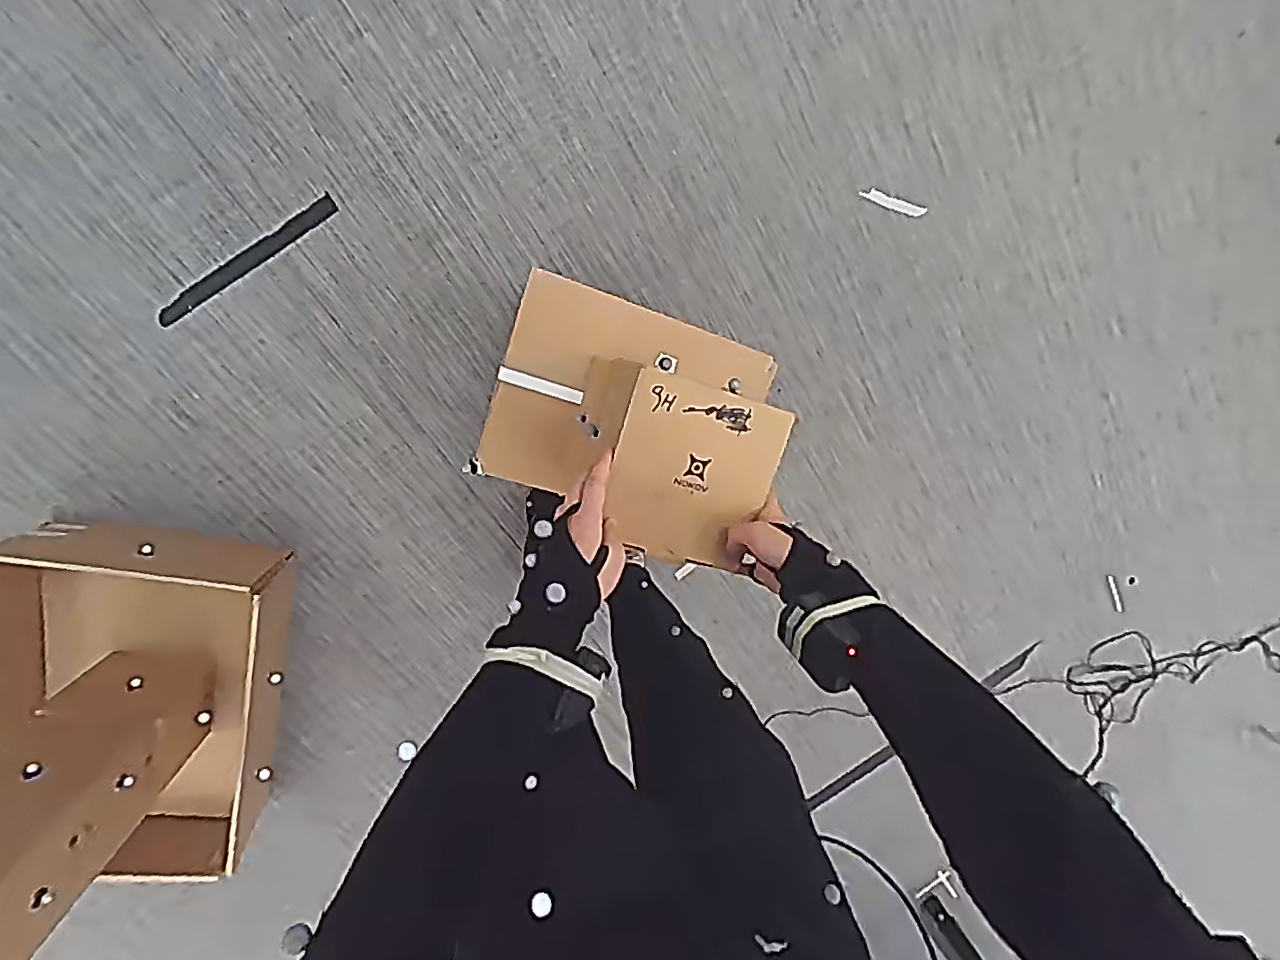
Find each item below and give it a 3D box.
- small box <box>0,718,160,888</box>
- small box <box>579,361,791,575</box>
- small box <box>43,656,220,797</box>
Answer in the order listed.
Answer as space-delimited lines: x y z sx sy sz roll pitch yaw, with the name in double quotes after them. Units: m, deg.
-0.880 0.485 0.826 0.179 0.176 0.168 6 102 -12 "small box"
0.034 -0.022 0.604 0.168 0.176 0.179 15 102 -16 "small box"
-0.909 0.438 0.977 0.179 0.176 0.168 11 102 -15 "small box"
